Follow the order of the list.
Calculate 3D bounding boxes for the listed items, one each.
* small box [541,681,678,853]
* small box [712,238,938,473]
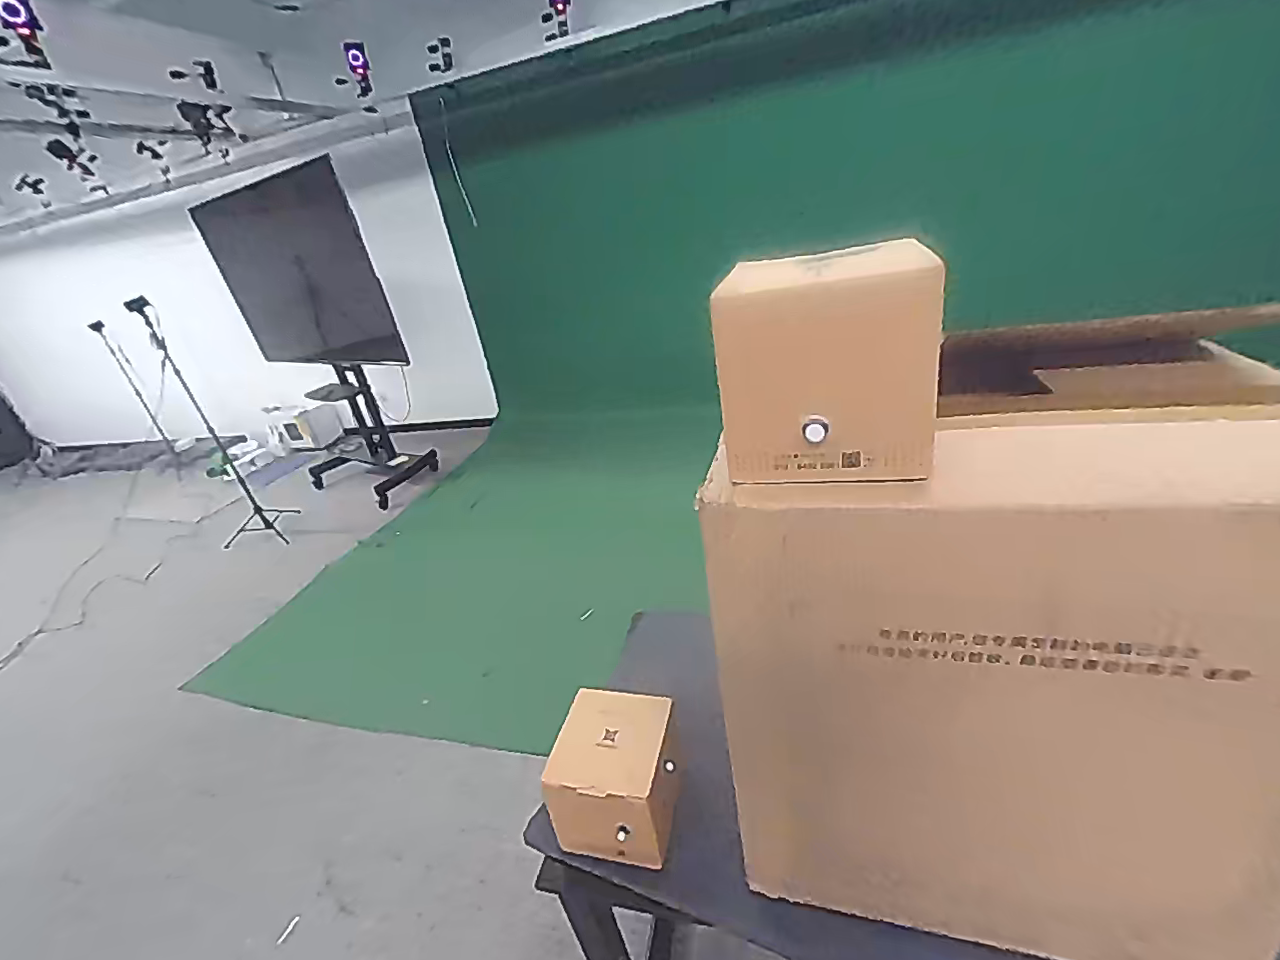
[{"bbox_3d":[-0.037,0.457,0.871,0.168,0.176,0.179,0,26,15],"label":"small box"},{"bbox_3d":[0.171,-0.118,0.510,0.168,0.176,0.179,-1,28,20],"label":"small box"}]
